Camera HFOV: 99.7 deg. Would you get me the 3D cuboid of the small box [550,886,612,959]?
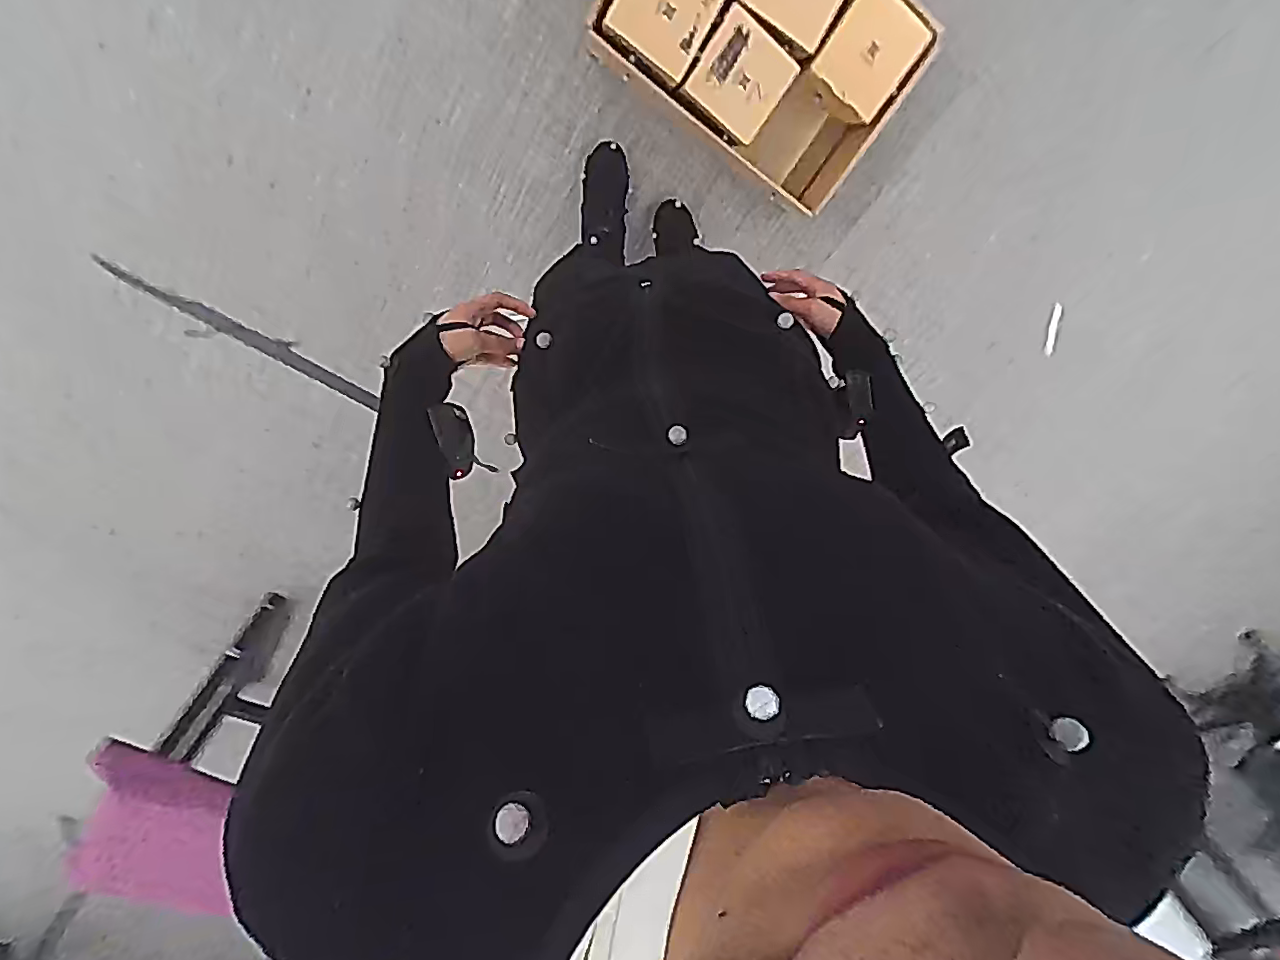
[{"bbox_3d":[-0.209,1.572,1.917,0.168,0.176,0.179,20,121,-17],"label":"small box"}]
